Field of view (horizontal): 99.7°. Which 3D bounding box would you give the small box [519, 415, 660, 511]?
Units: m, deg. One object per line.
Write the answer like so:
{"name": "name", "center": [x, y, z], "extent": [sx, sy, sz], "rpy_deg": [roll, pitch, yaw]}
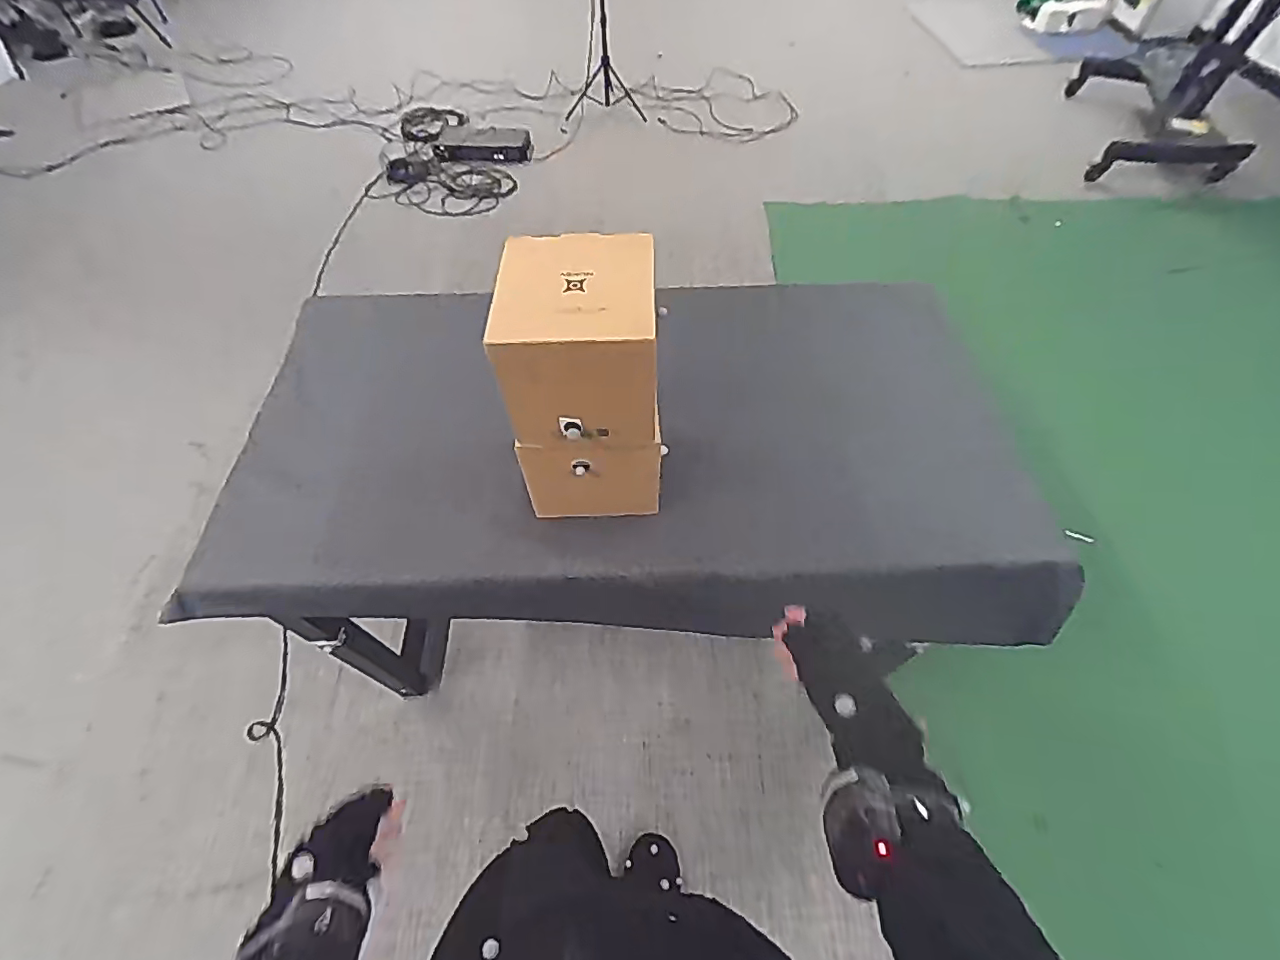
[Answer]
{"name": "small box", "center": [-0.062, -0.066, 0.763], "extent": [0.179, 0.176, 0.168], "rpy_deg": [-2, 56, -1]}

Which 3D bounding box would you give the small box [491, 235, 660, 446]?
{"name": "small box", "center": [-0.063, -0.158, 0.631], "extent": [0.168, 0.176, 0.179], "rpy_deg": [-2, 57, 1]}
